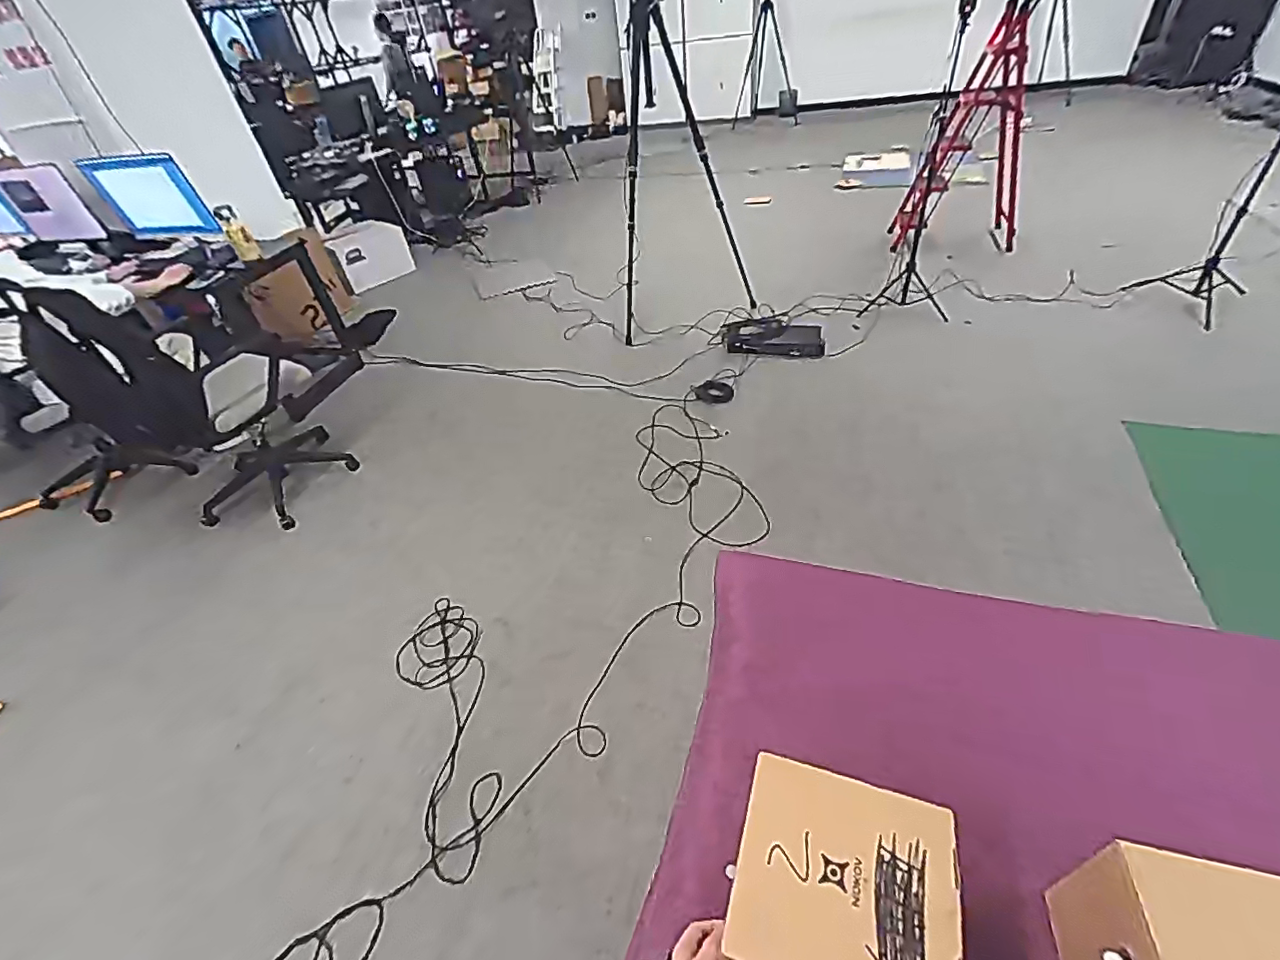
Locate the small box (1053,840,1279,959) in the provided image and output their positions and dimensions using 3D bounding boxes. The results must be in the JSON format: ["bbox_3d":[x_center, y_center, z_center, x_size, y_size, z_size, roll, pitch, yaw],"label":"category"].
[{"bbox_3d":[0.463,0.427,0.422,0.168,0.176,0.179,5,41,16],"label":"small box"}]
